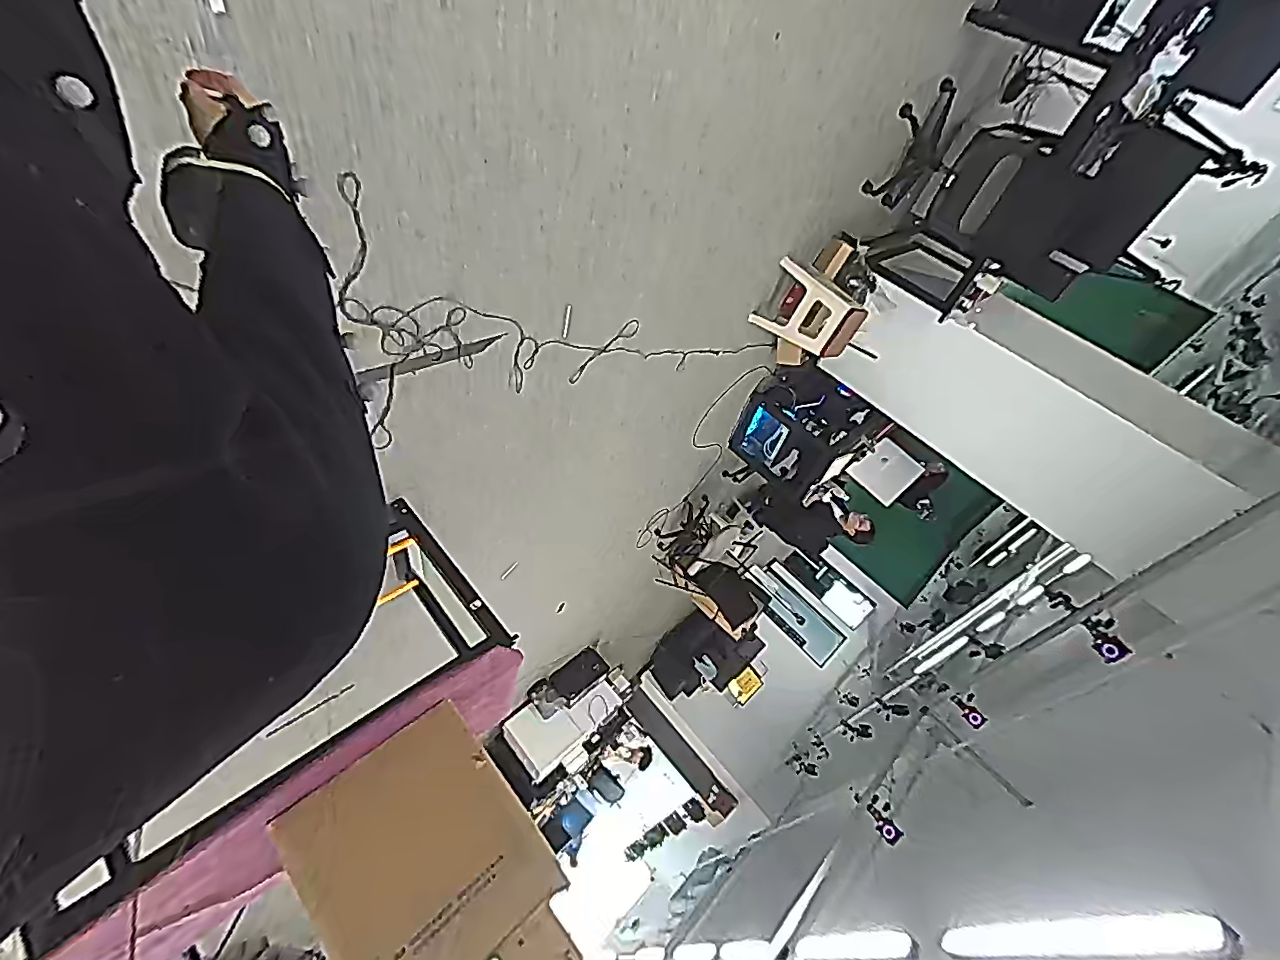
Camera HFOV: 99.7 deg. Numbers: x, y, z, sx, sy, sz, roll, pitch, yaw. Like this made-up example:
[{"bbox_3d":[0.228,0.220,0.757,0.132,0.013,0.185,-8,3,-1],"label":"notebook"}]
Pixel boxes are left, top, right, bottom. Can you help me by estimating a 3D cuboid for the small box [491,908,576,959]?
[{"bbox_3d":[-0.307,1.371,1.548,0.179,0.176,0.168,-30,153,-32],"label":"small box"}]
